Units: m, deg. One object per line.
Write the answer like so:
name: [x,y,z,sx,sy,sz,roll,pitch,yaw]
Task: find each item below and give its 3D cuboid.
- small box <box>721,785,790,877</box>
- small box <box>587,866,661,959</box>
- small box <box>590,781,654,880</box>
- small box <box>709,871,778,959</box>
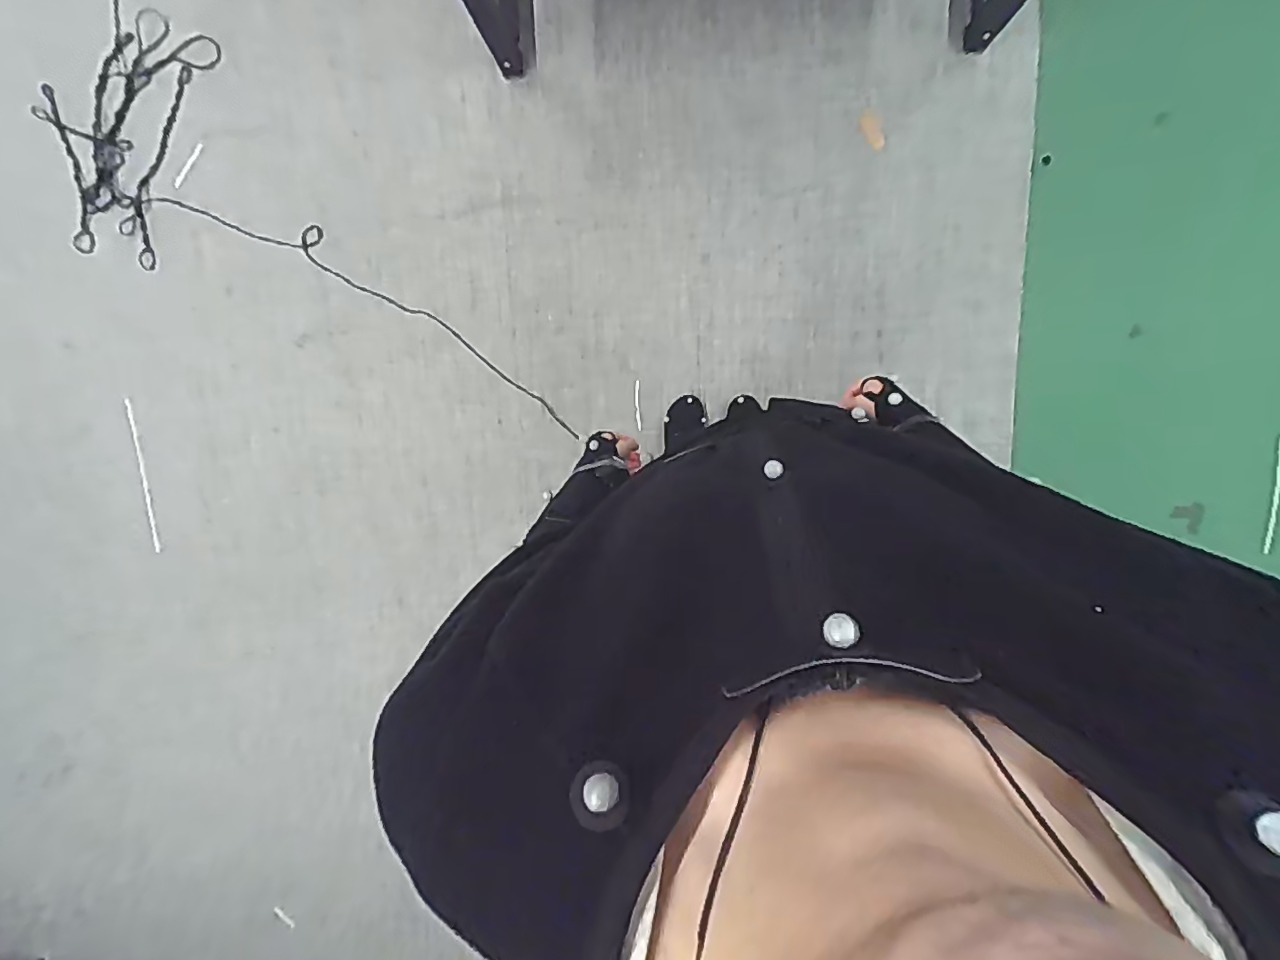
small box: [0.321,1.003,1.536,0.168,0.176,0.179,4,99,5]
small box: [-0.040,1.259,1.596,0.179,0.176,0.168,15,99,4]
small box: [-0.049,1.004,1.563,0.168,0.176,0.179,2,99,4]
small box: [0.300,1.276,1.575,0.179,0.176,0.168,5,99,3]
